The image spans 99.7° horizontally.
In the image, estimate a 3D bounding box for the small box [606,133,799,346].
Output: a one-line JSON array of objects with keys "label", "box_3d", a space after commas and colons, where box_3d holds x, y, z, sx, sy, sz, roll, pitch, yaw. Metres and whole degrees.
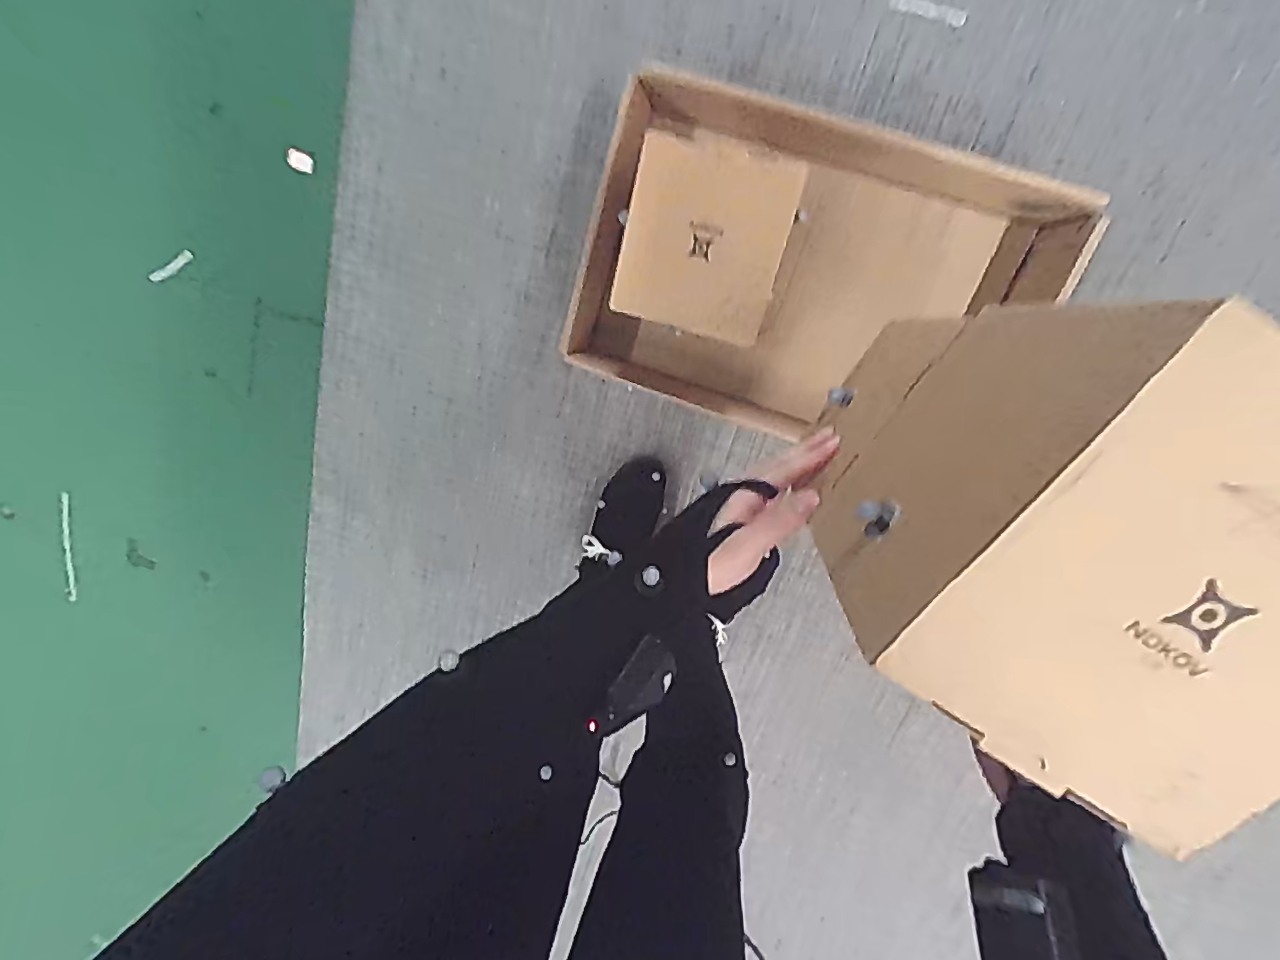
[{"label": "small box", "box_3d": [0.072, -0.266, 0.629, 0.168, 0.176, 0.179, 15, 109, 5]}]

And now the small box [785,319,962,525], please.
[{"label": "small box", "box_3d": [0.240, -0.017, 0.440, 0.179, 0.176, 0.168, 33, 108, -1]}]

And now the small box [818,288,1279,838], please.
[{"label": "small box", "box_3d": [0.214, 0.025, 0.284, 0.168, 0.176, 0.179, 33, 108, -2]}]
